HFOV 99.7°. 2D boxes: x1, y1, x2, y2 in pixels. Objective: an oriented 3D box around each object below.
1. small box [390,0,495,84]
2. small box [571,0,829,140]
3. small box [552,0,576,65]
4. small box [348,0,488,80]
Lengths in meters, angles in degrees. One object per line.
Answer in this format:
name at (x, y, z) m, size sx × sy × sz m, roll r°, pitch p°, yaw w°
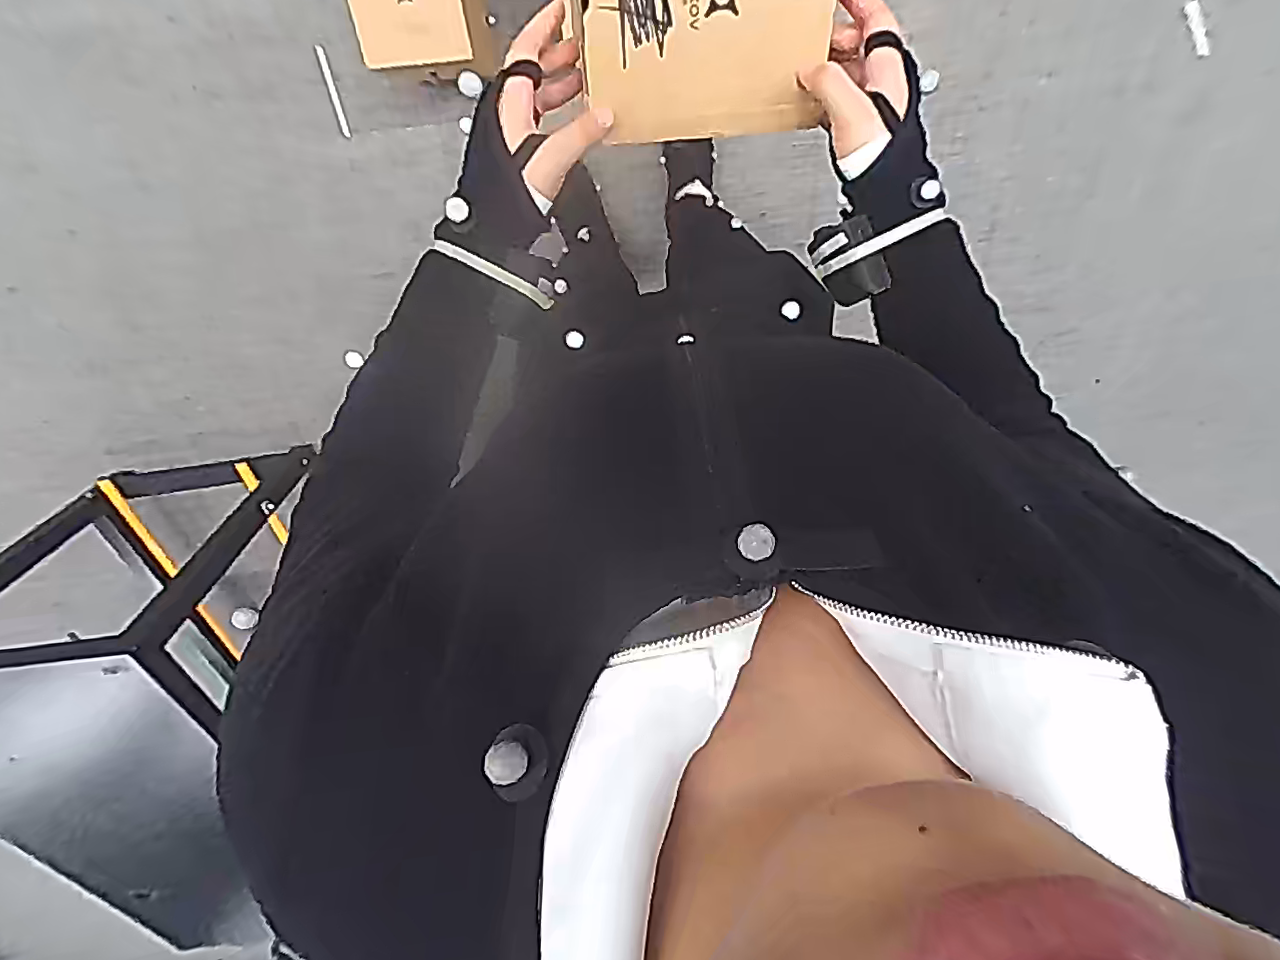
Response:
small box at (-0.371, -0.837, 0.993) m, size 0.179 × 0.176 × 0.168 m, roll -5°, pitch 123°, yaw -2°
small box at (0.034, -0.377, 0.419) m, size 0.179 × 0.176 × 0.168 m, roll -7°, pitch 133°, yaw -4°
small box at (-0.077, -0.884, 0.994) m, size 0.168 × 0.176 × 0.179 m, roll -9°, pitch 124°, yaw 1°
small box at (-0.351, -0.753, 0.855) m, size 0.168 × 0.176 × 0.179 m, roll -6°, pitch 125°, yaw 0°
